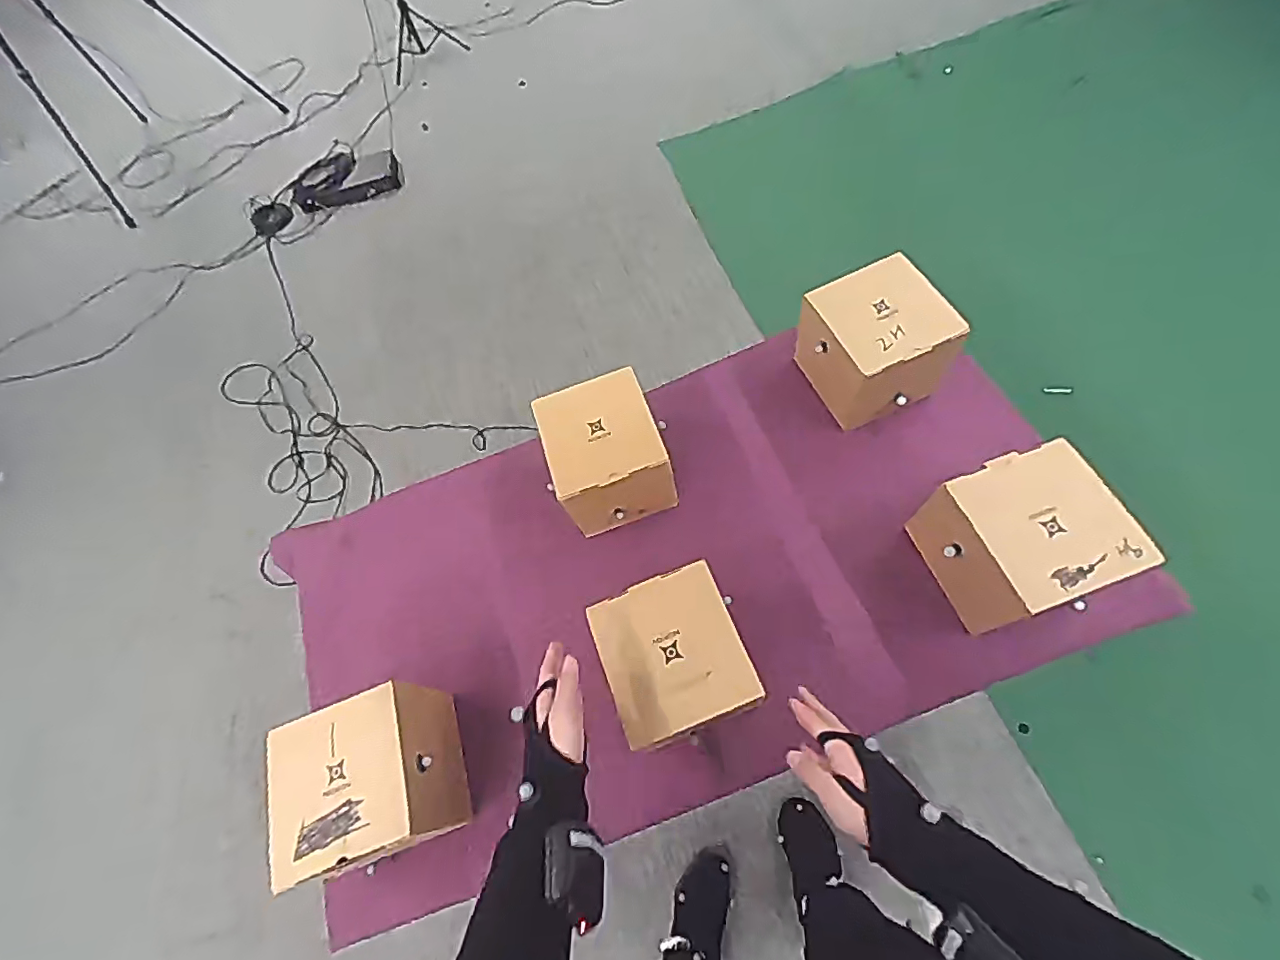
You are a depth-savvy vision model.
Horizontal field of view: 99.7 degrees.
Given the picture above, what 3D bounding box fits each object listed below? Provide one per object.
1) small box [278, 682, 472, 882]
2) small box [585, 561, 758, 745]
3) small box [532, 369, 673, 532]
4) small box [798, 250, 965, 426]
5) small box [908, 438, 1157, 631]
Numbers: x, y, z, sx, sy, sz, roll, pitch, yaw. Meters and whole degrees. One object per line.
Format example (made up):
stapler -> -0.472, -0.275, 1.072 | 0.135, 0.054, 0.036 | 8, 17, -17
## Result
small box -> -0.344, 0.389, 0.721 | 0.168, 0.176, 0.179 | -22, 62, 0
small box -> 0.044, 0.236, 0.722 | 0.168, 0.176, 0.179 | -23, 63, 1
small box -> -0.054, -0.040, 0.865 | 0.168, 0.176, 0.179 | -21, 66, 0
small box -> 0.366, -0.218, 0.863 | 0.168, 0.176, 0.179 | -25, 65, 2
small box -> 0.485, 0.079, 0.708 | 0.168, 0.176, 0.179 | -22, 64, 1
